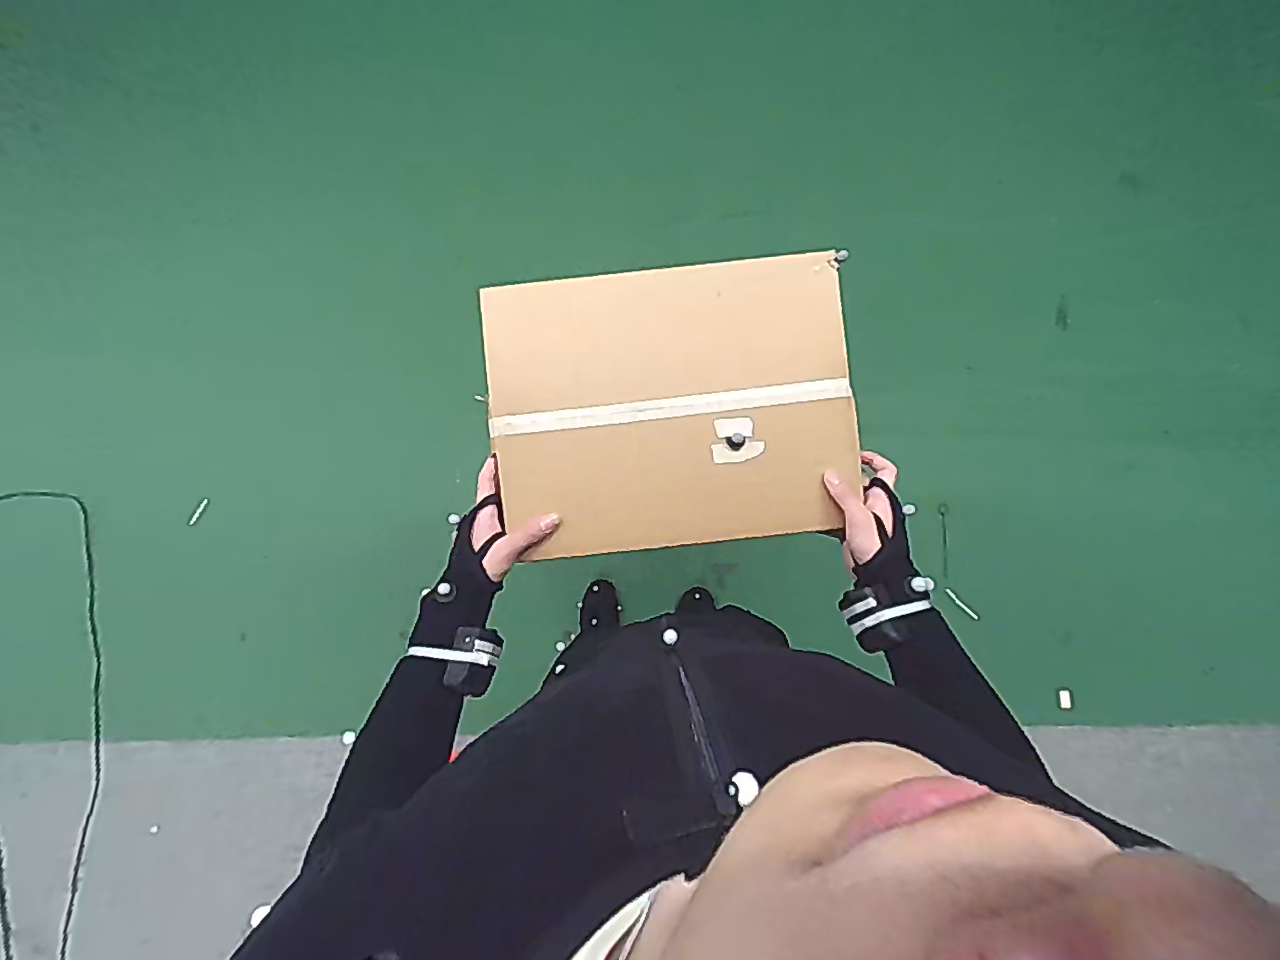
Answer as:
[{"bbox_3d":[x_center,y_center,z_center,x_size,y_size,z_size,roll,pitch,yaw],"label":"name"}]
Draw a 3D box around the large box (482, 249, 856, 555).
[{"bbox_3d":[0.031,-0.087,0.764,0.408,0.320,0.320,-6,90,-1],"label":"large box"}]
